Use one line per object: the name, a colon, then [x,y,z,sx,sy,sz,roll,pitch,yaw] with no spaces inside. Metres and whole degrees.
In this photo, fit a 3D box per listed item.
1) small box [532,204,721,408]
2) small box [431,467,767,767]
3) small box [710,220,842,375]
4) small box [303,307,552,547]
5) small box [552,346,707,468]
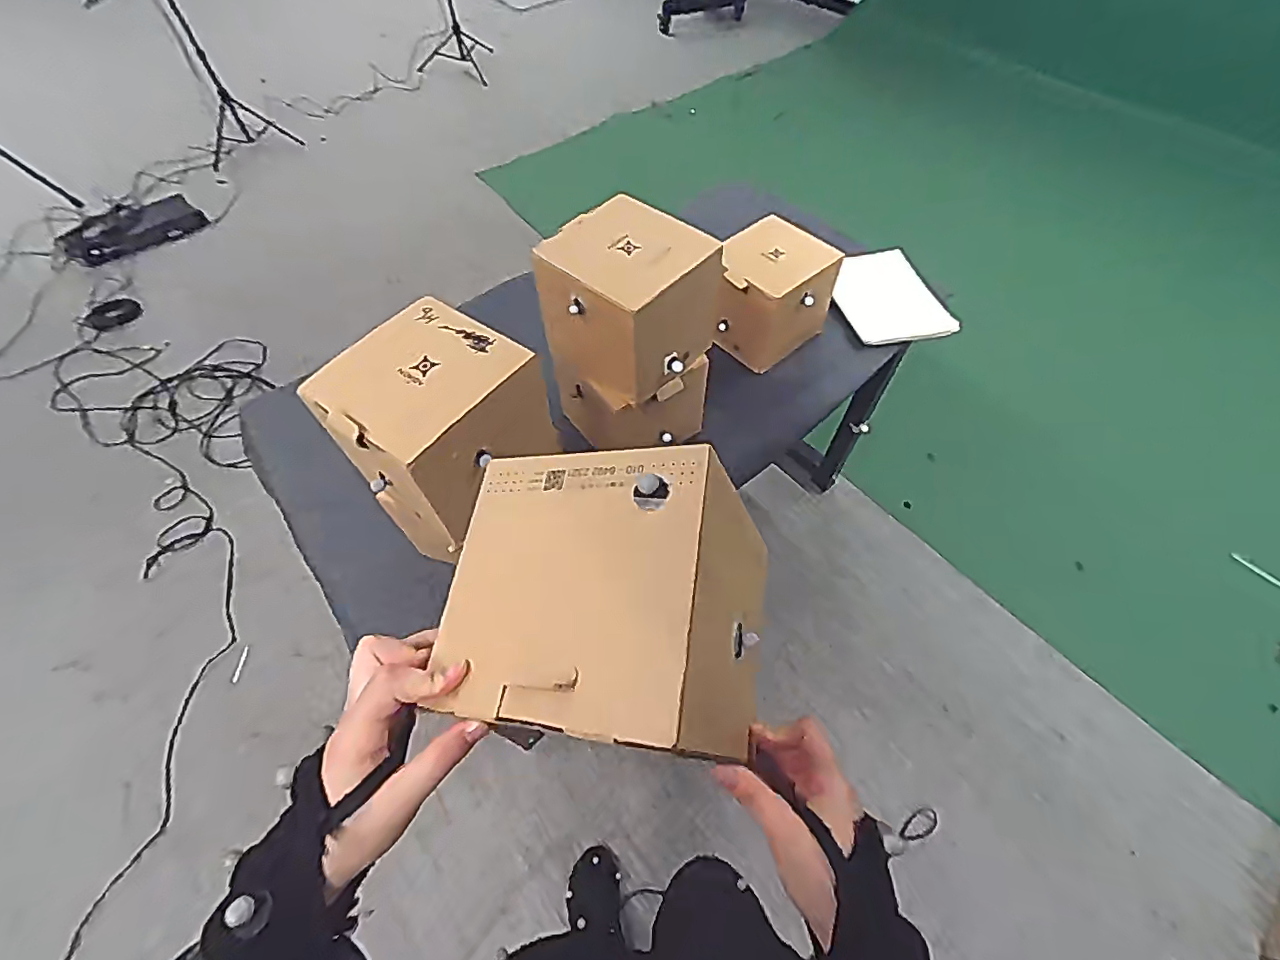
small box: [-0.015,-0.228,0.723,0.179,0.176,0.168,35,65,22]
small box: [-0.008,0.098,0.389,0.168,0.179,0.176,-3,62,25]
small box: [0.226,-0.327,0.978,0.179,0.176,0.168,-37,62,-20]
small box: [-0.219,-0.054,0.612,0.168,0.176,0.179,30,63,19]
small box: [-0.017,-0.137,0.858,0.168,0.176,0.179,-33,62,-18]
